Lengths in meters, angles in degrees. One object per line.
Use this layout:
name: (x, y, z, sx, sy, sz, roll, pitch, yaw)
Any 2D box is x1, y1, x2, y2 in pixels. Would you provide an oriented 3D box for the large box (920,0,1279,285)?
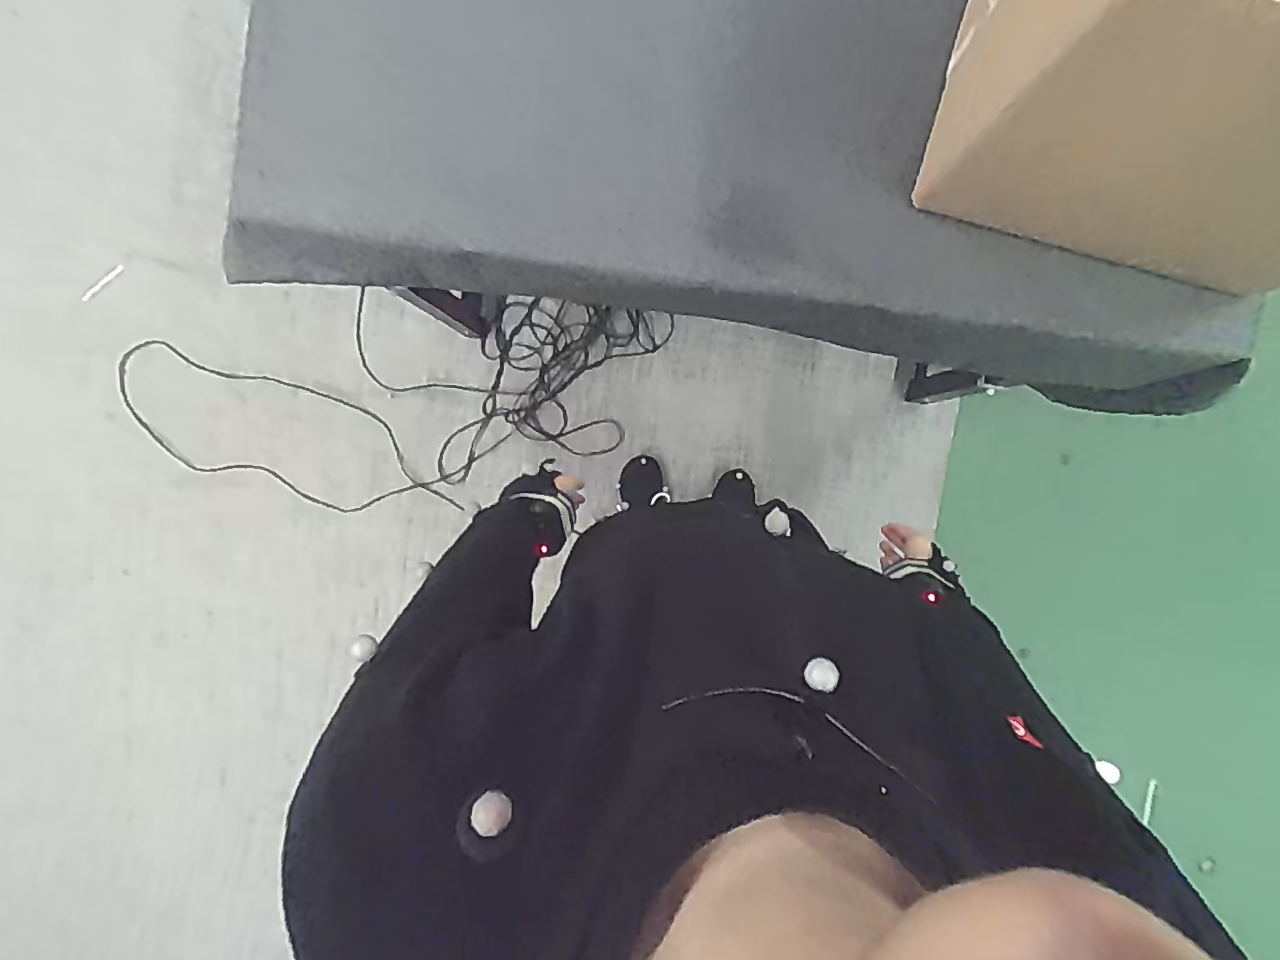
large box: (0.539, -0.408, 0.465, 0.408, 0.320, 0.320, 15, 93, 0)
